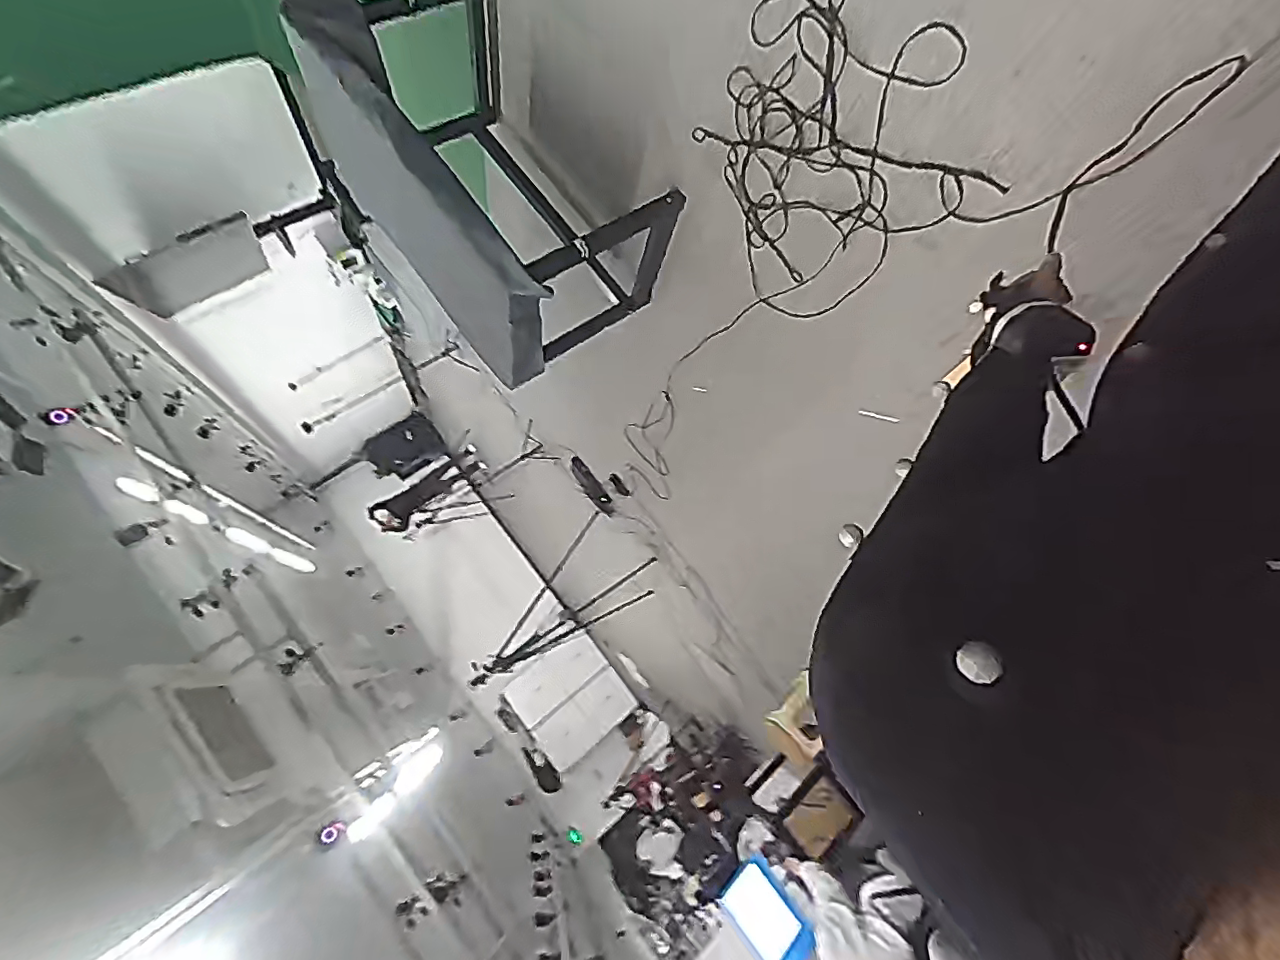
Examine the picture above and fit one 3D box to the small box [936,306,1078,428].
[{"bbox_3d":[0.831,-0.255,1.228,0.168,0.176,0.179,50,158,12],"label":"small box"}]
